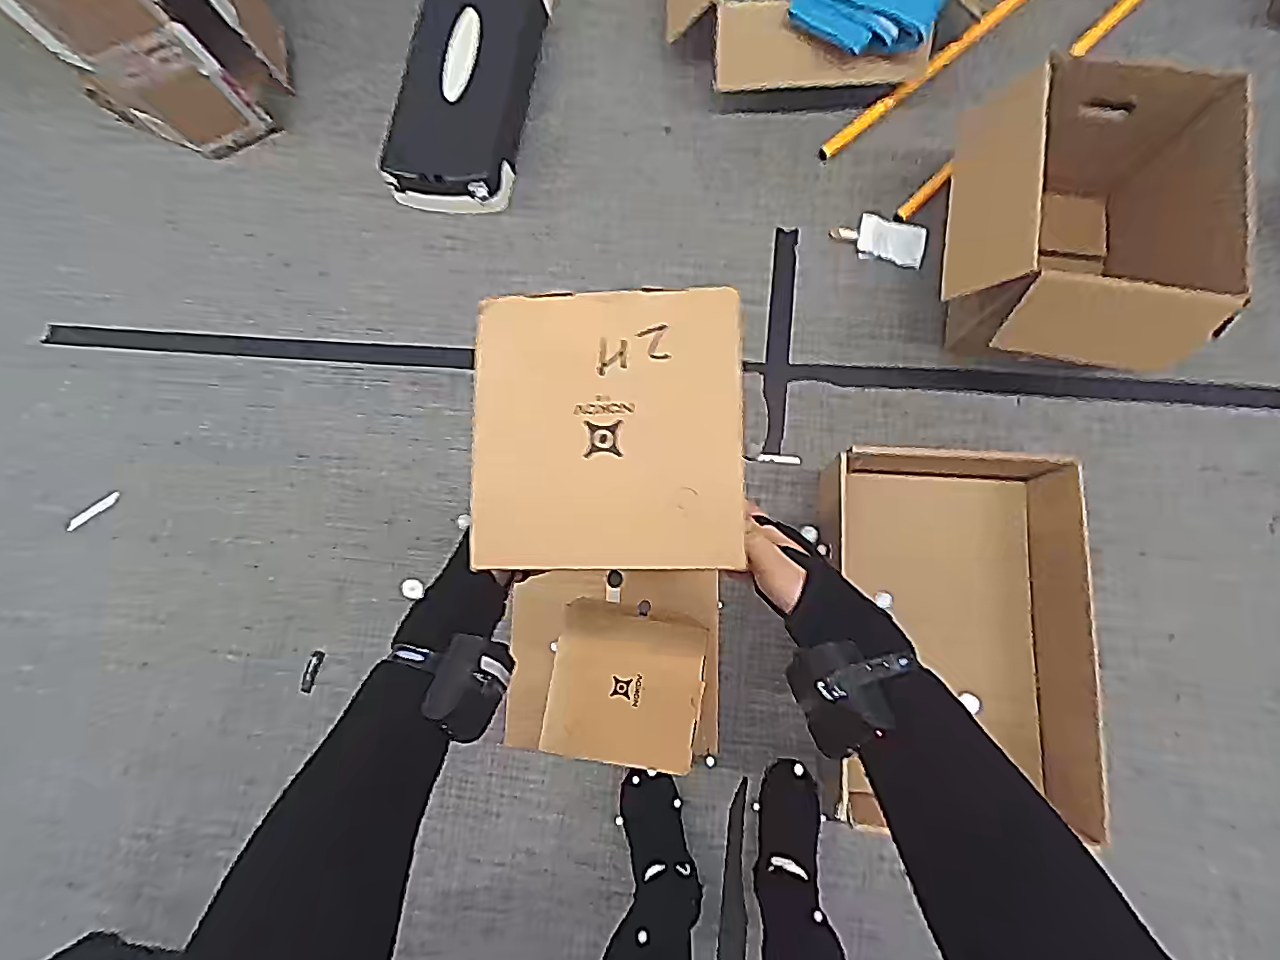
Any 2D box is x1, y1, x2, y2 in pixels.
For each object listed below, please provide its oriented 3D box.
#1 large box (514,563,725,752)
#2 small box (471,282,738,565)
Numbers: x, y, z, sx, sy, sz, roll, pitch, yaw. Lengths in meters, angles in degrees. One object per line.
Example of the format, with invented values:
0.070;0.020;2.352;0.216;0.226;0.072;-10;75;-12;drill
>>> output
-0.022;0.213;0.954;0.320;0.320;0.408;0;81;5;large box
-0.015;-0.026;0.412;0.168;0.176;0.179;-1;82;5;small box
